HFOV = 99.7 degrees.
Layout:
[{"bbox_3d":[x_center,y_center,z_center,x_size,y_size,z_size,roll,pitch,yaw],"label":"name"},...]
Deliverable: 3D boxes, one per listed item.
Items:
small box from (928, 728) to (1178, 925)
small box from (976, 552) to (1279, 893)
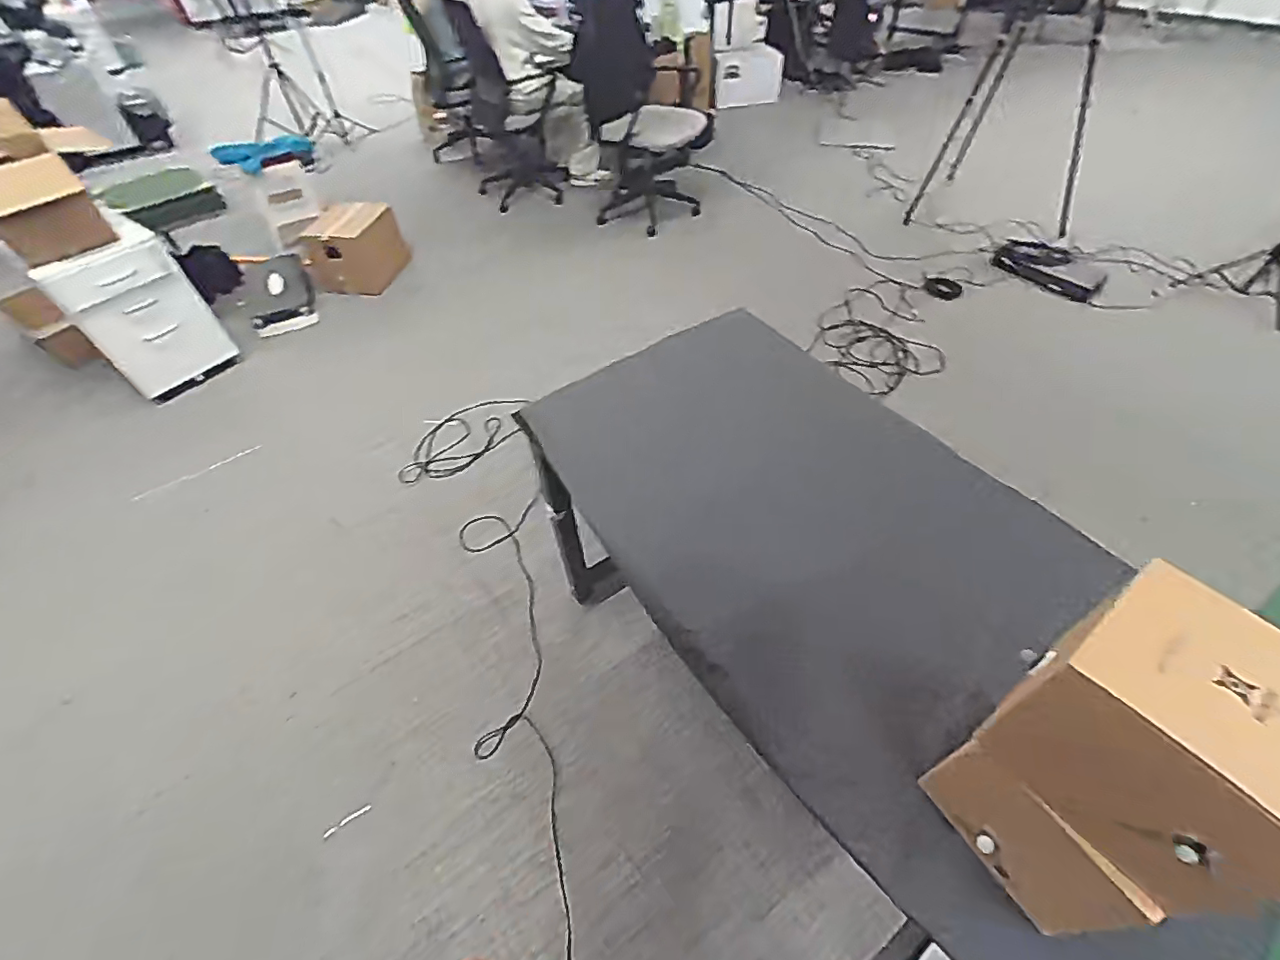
[{"bbox_3d":[0.442,0.317,0.561,0.179,0.176,0.168,-23,50,-18],"label":"small box"},{"bbox_3d":[0.432,0.200,0.449,0.168,0.176,0.179,-28,51,-24],"label":"small box"}]
